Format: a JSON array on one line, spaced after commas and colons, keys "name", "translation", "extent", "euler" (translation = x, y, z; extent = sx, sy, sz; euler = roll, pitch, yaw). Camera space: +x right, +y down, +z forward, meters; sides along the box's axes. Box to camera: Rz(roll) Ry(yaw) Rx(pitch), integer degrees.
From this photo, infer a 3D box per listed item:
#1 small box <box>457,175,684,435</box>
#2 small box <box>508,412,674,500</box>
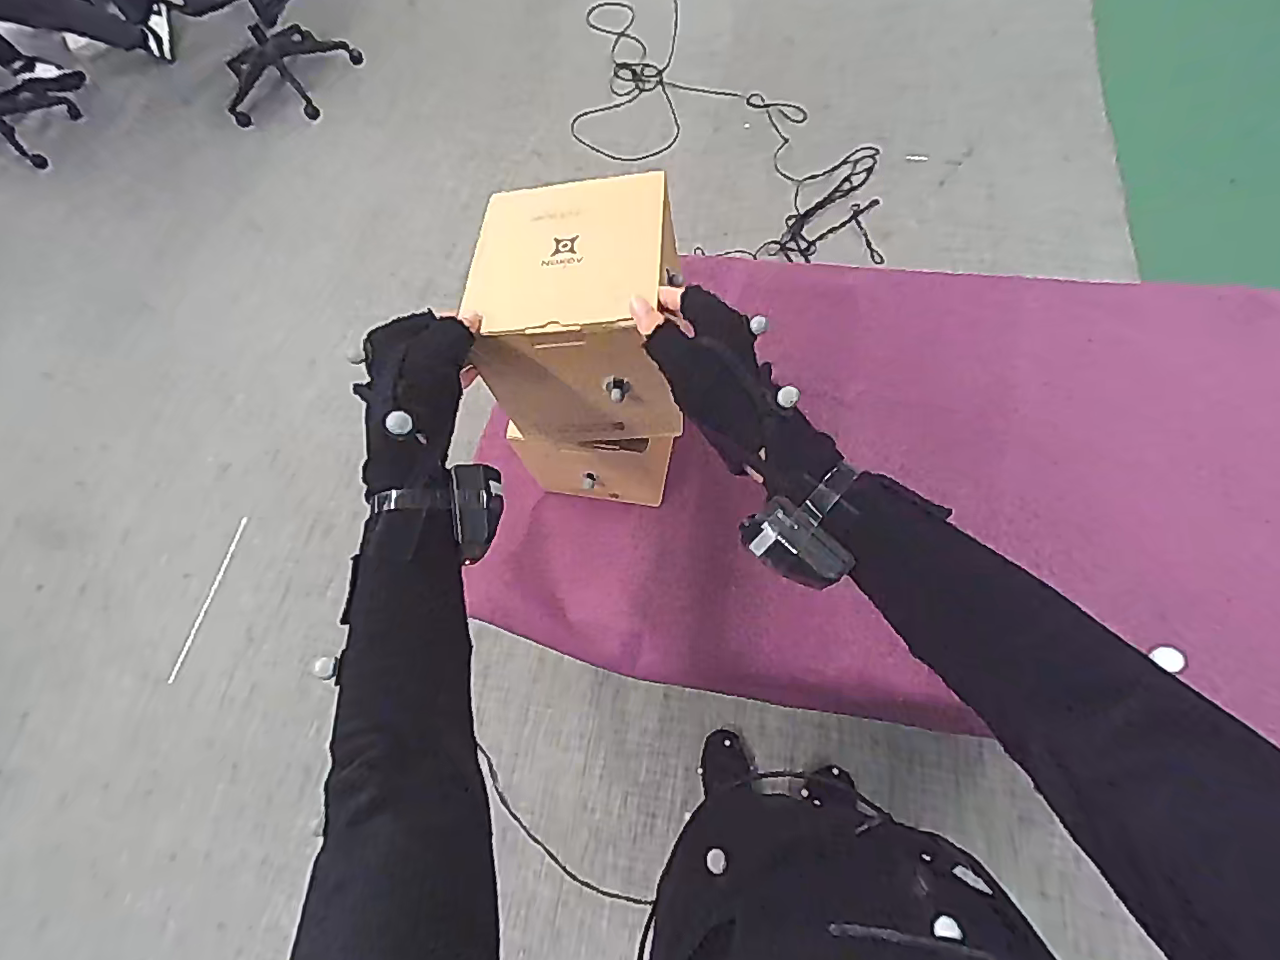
[{"name": "small box", "translation": [-0.048, -0.153, 0.524], "extent": [0.168, 0.176, 0.179], "euler": [-2, 62, 11]}, {"name": "small box", "translation": [-0.045, -0.086, 0.696], "extent": [0.168, 0.176, 0.179], "euler": [7, 69, 10]}]
